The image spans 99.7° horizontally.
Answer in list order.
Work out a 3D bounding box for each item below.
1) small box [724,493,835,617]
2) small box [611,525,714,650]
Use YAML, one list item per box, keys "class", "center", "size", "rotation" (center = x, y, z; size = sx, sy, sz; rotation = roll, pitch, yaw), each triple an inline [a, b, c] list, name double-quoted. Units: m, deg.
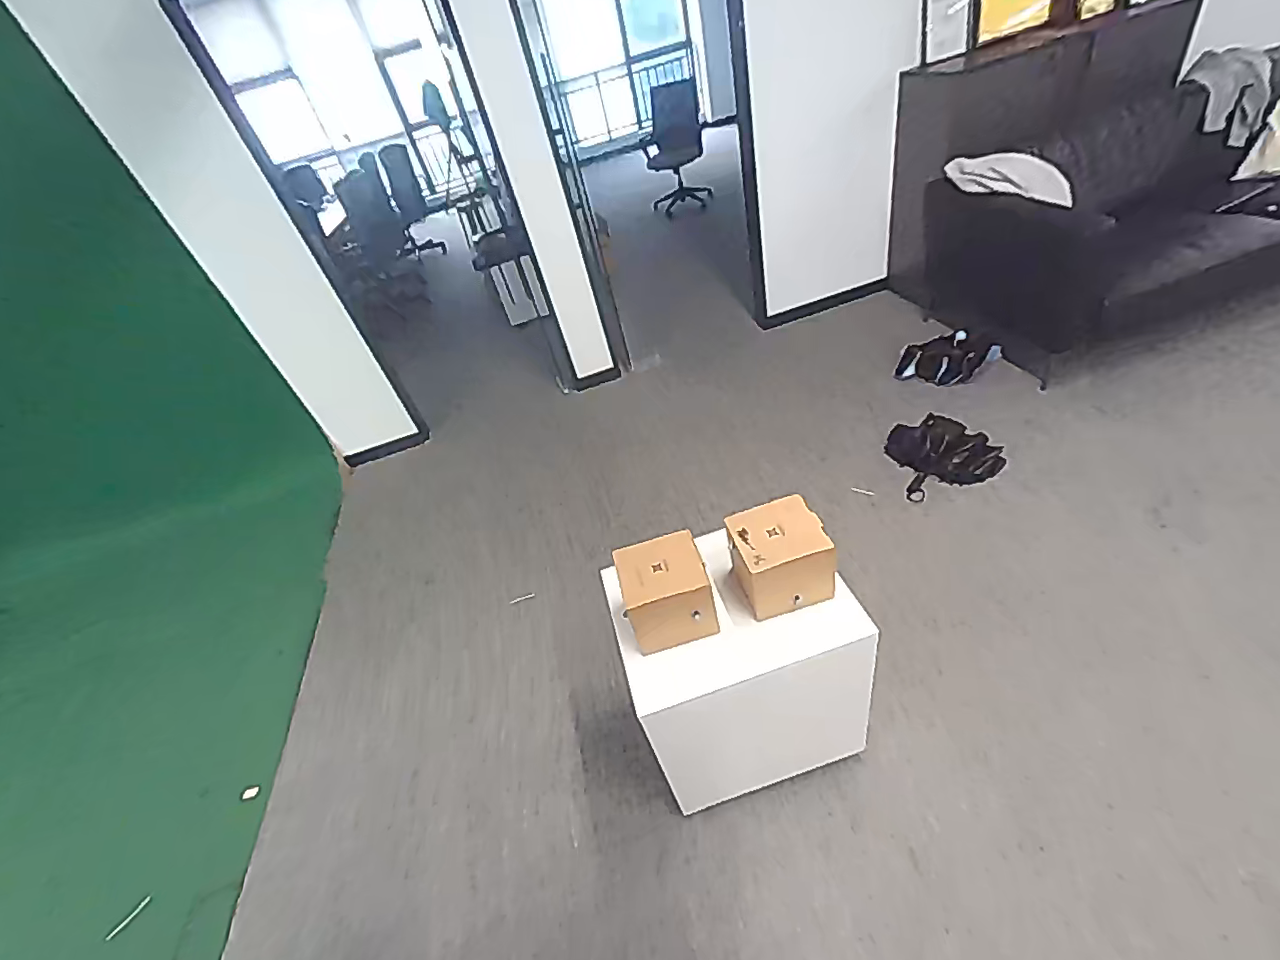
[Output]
- class: "small box"
  center: [0.291, 0.161, 1.148]
  size: [0.179, 0.176, 0.168]
  rotation: [-16, 40, -2]
- class: "small box"
  center: [0.051, 0.229, 1.144]
  size: [0.179, 0.176, 0.168]
  rotation: [-17, 39, -2]
